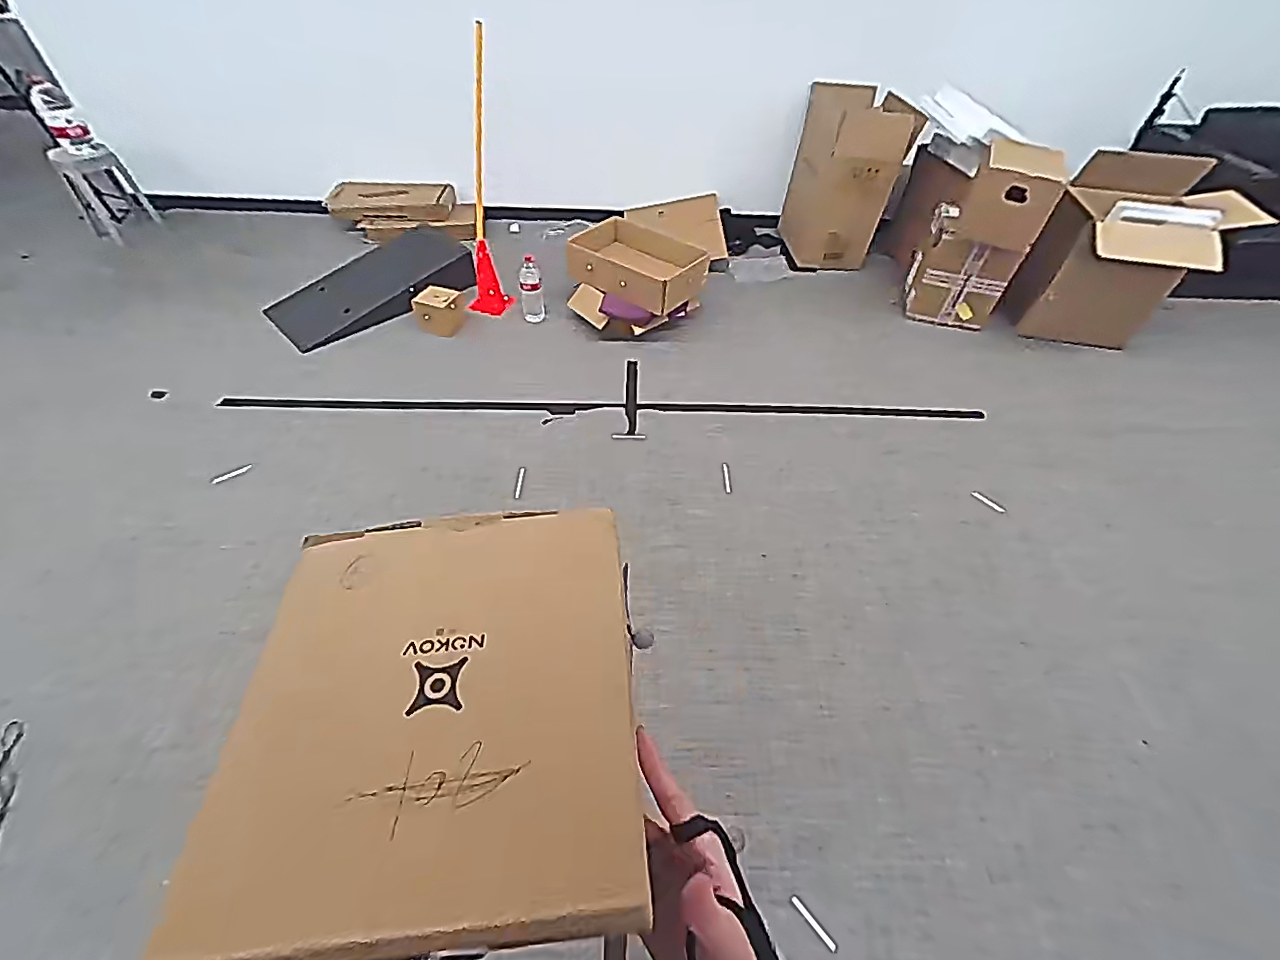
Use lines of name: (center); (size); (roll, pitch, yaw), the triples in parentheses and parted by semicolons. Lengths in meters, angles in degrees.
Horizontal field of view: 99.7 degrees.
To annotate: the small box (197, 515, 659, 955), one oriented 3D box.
small box: (-0.083, 0.144, 0.307); (0.168, 0.176, 0.179); (-6, 49, -3)
